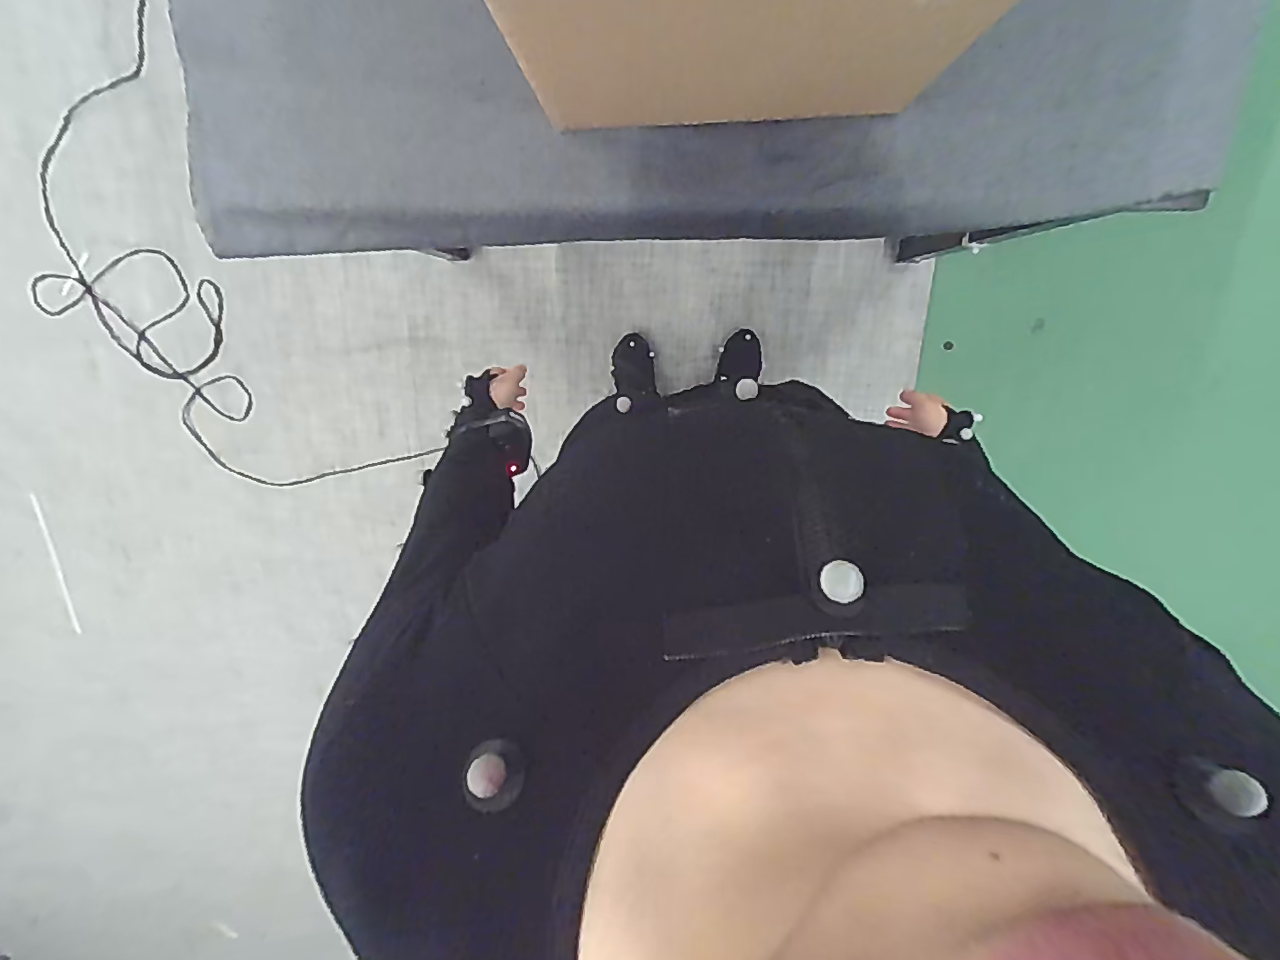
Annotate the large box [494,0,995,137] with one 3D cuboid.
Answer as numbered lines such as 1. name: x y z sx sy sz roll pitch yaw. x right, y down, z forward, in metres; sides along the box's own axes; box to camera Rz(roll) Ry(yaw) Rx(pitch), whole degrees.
1. large box: 0.082 -0.531 0.463 0.408 0.320 0.320 -2 106 3
